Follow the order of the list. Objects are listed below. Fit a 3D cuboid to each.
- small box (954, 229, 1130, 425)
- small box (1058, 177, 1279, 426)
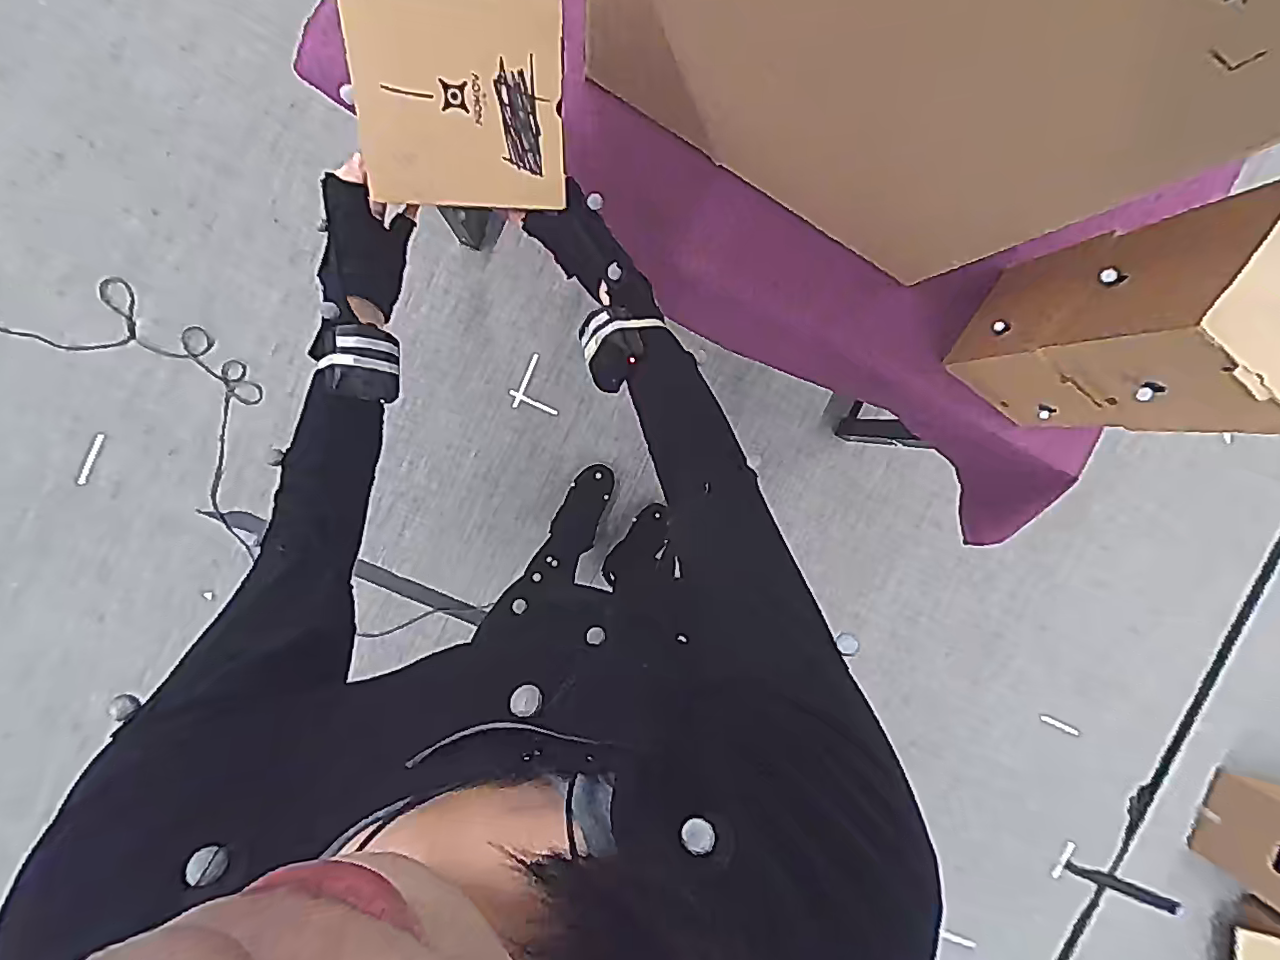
[{"bbox_3d":[0.567,-0.188,0.726,0.168,0.176,0.179,33,90,-10],"label":"small box"},{"bbox_3d":[0.595,-0.168,0.566,0.168,0.176,0.179,37,91,-9],"label":"small box"}]
